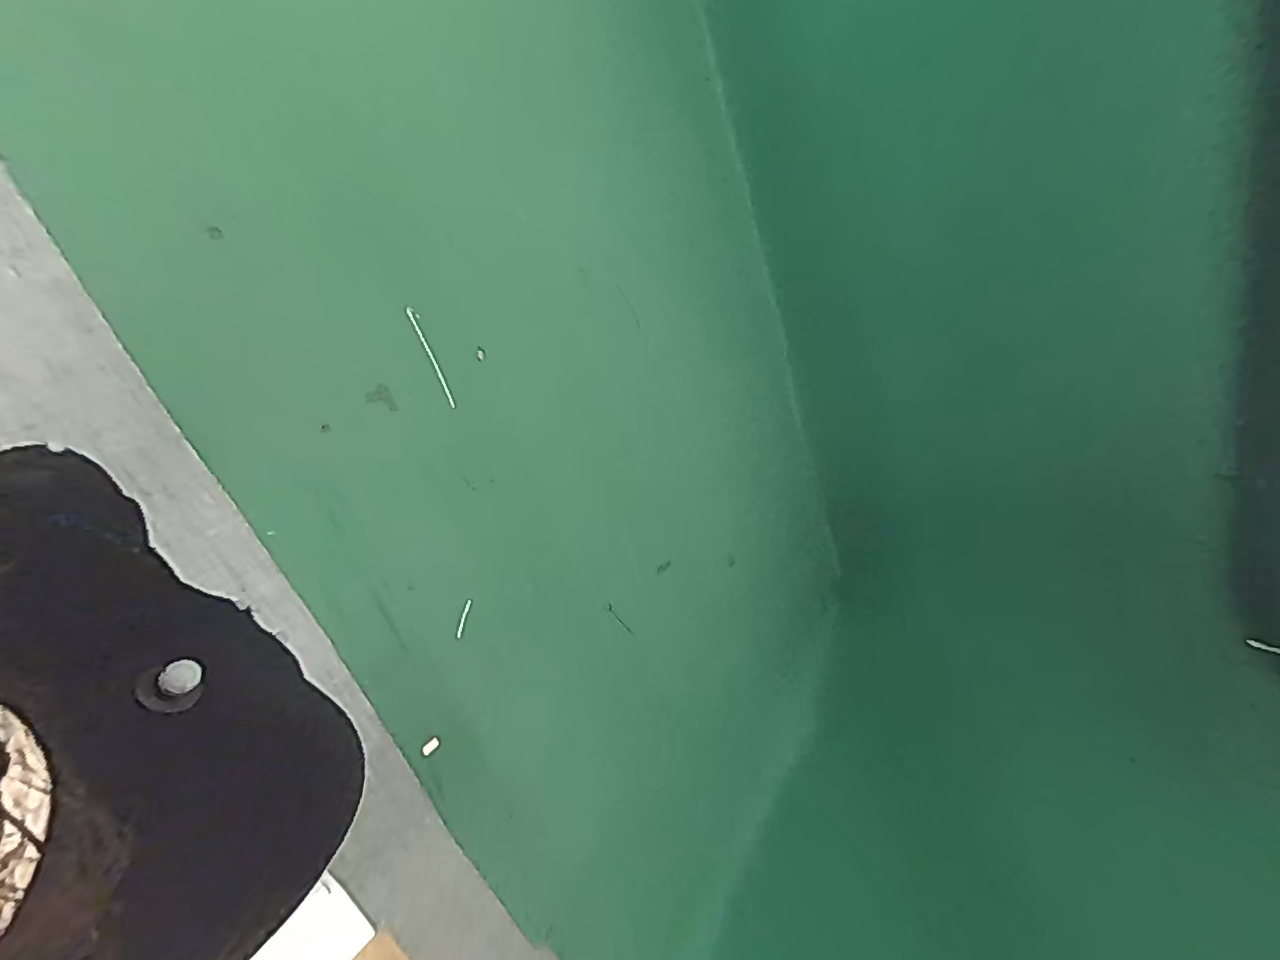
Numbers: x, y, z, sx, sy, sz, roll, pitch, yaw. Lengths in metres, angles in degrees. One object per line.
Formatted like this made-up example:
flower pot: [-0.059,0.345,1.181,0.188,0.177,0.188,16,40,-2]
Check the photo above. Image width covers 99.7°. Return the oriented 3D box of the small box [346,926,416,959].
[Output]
small box: [-0.406,0.852,0.832,0.179,0.176,0.168,-37,116,-44]
